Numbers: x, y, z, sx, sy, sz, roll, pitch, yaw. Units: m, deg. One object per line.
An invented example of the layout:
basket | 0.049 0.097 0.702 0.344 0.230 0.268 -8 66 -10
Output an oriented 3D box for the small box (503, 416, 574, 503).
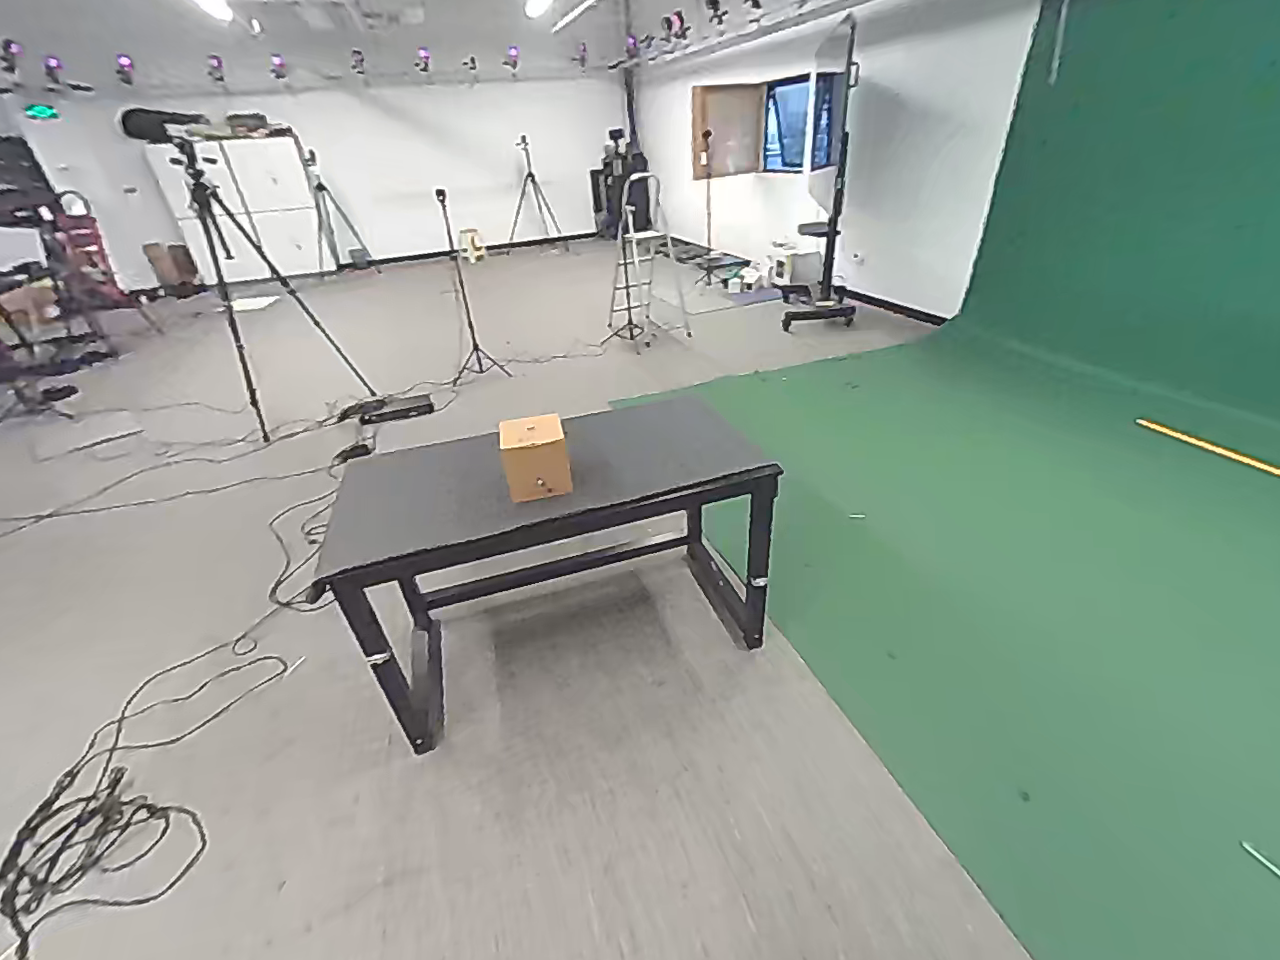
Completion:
small box | -0.280 -0.058 1.490 0.168 0.176 0.179 -10 31 -9
